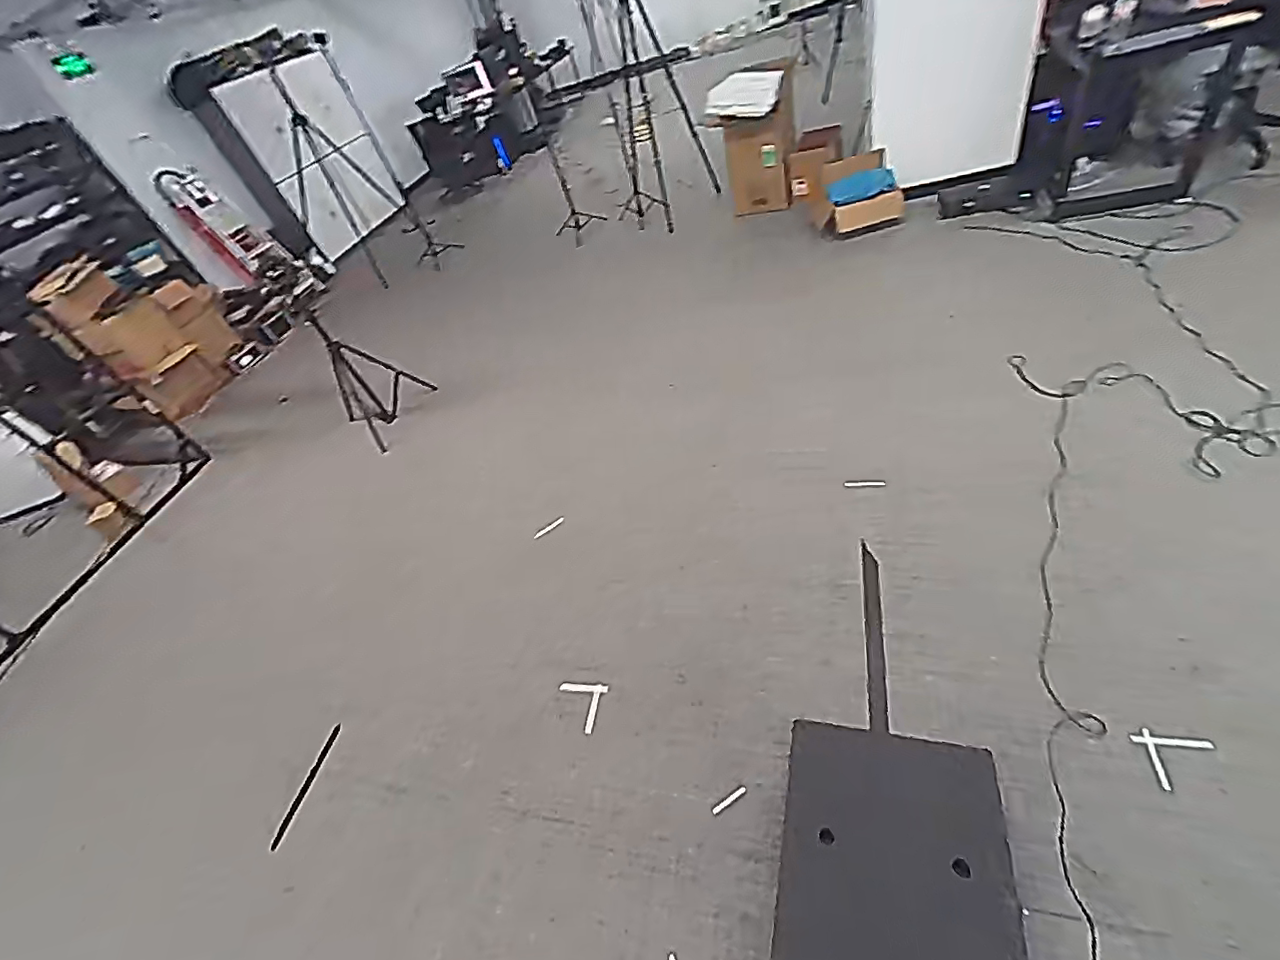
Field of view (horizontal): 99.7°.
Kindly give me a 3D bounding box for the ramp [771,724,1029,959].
[{"bbox_3d":[0.517,0.996,1.100,0.509,0.206,0.991,-3,46,22],"label":"ramp"}]
